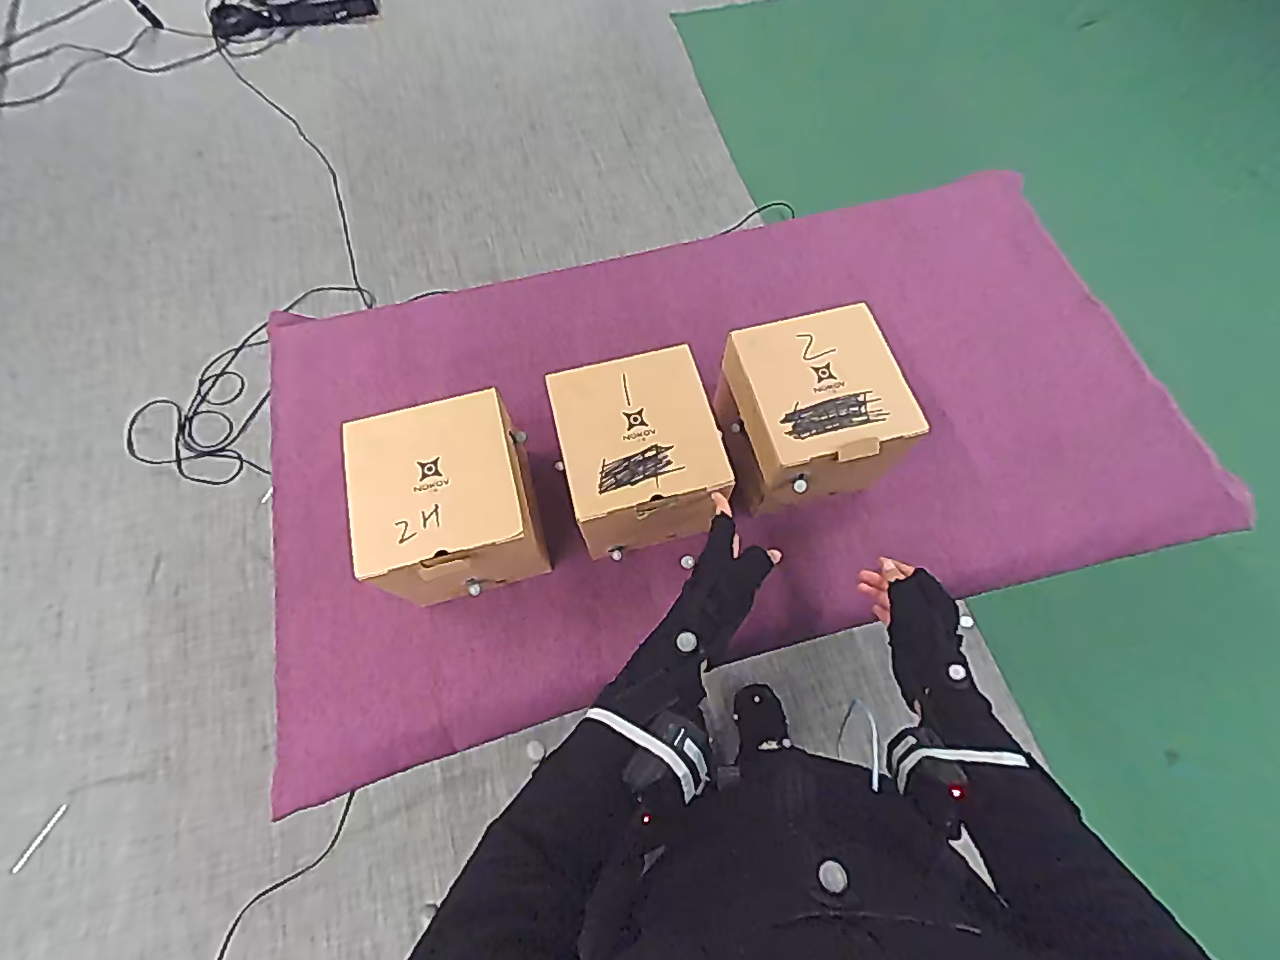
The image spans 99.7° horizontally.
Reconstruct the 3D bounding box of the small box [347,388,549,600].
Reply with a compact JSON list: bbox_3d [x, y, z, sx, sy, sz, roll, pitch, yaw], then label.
[{"bbox_3d":[-0.213,0.024,0.628,0.168,0.176,0.179,-15,70,-5],"label":"small box"}]
